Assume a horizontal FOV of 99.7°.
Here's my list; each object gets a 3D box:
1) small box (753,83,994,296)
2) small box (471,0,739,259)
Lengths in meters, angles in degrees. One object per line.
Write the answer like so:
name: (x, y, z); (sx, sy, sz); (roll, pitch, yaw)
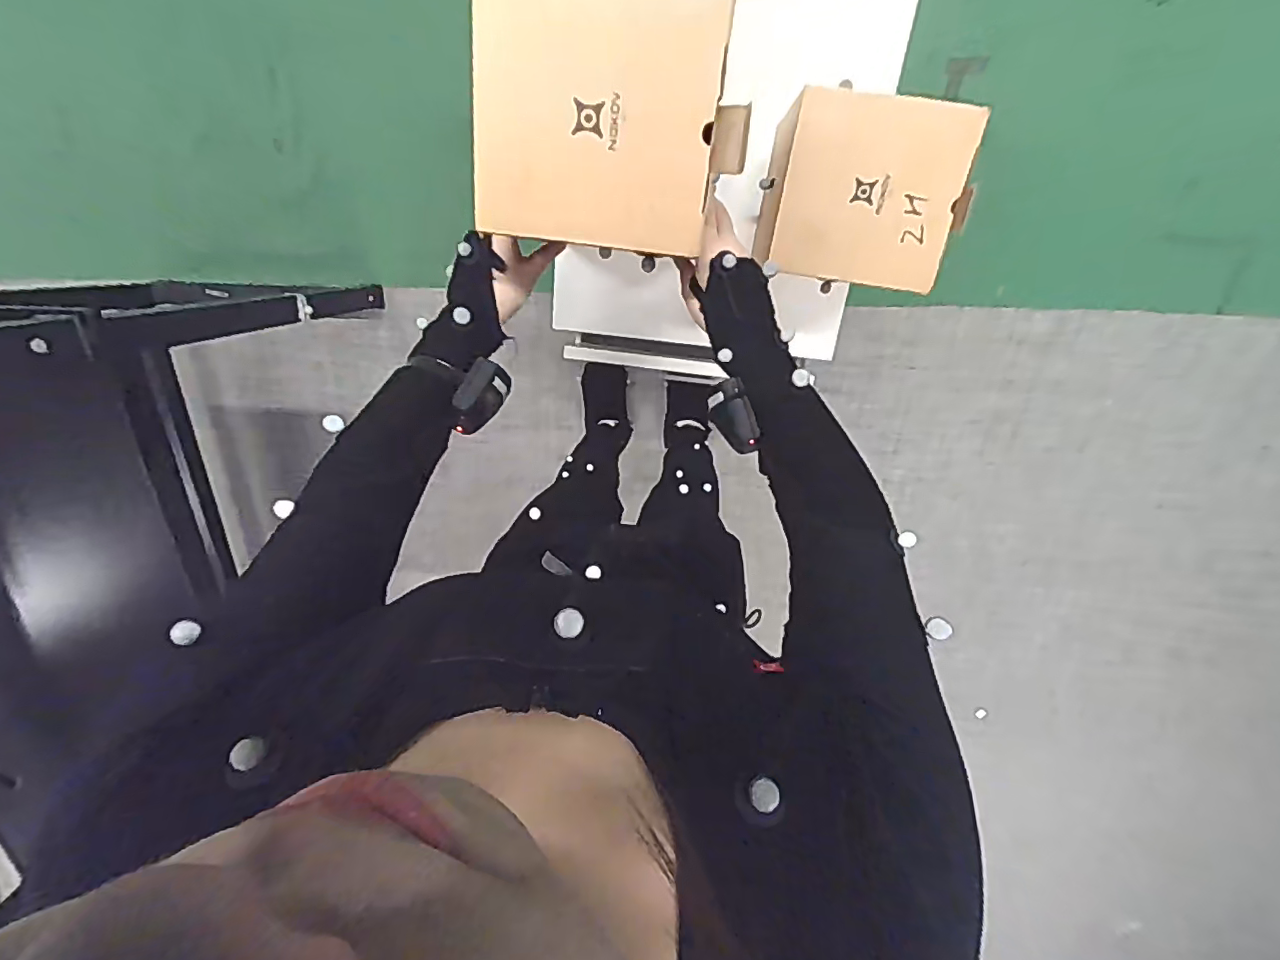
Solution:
small box: (0.231, -0.306, 0.596); (0.179, 0.176, 0.168); (9, 114, 0)
small box: (-0.026, -0.280, 0.448); (0.179, 0.176, 0.168); (6, 113, 0)
